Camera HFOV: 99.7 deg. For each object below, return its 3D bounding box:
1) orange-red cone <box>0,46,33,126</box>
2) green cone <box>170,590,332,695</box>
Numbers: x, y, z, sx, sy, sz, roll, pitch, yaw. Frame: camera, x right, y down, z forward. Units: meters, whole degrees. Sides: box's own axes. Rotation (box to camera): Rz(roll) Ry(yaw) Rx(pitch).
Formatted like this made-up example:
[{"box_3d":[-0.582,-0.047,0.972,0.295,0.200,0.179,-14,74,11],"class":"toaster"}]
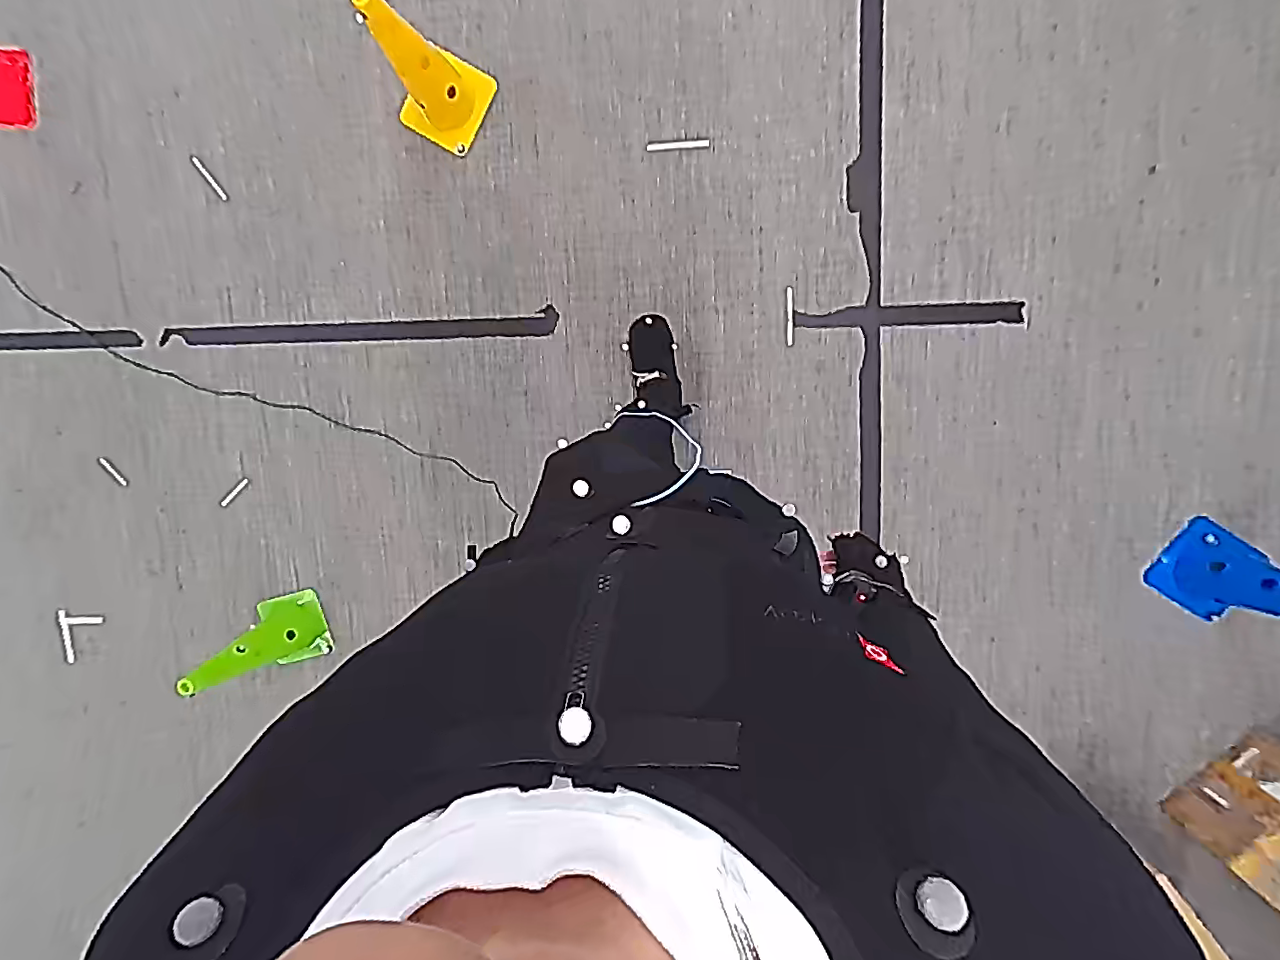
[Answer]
[{"box_3d":[-1.781,-1.063,1.320,0.199,0.360,0.198,7,99,5],"class":"orange-red cone"},{"box_3d":[-1.043,0.453,1.427,0.202,0.368,0.200,-16,95,10],"class":"green cone"}]
